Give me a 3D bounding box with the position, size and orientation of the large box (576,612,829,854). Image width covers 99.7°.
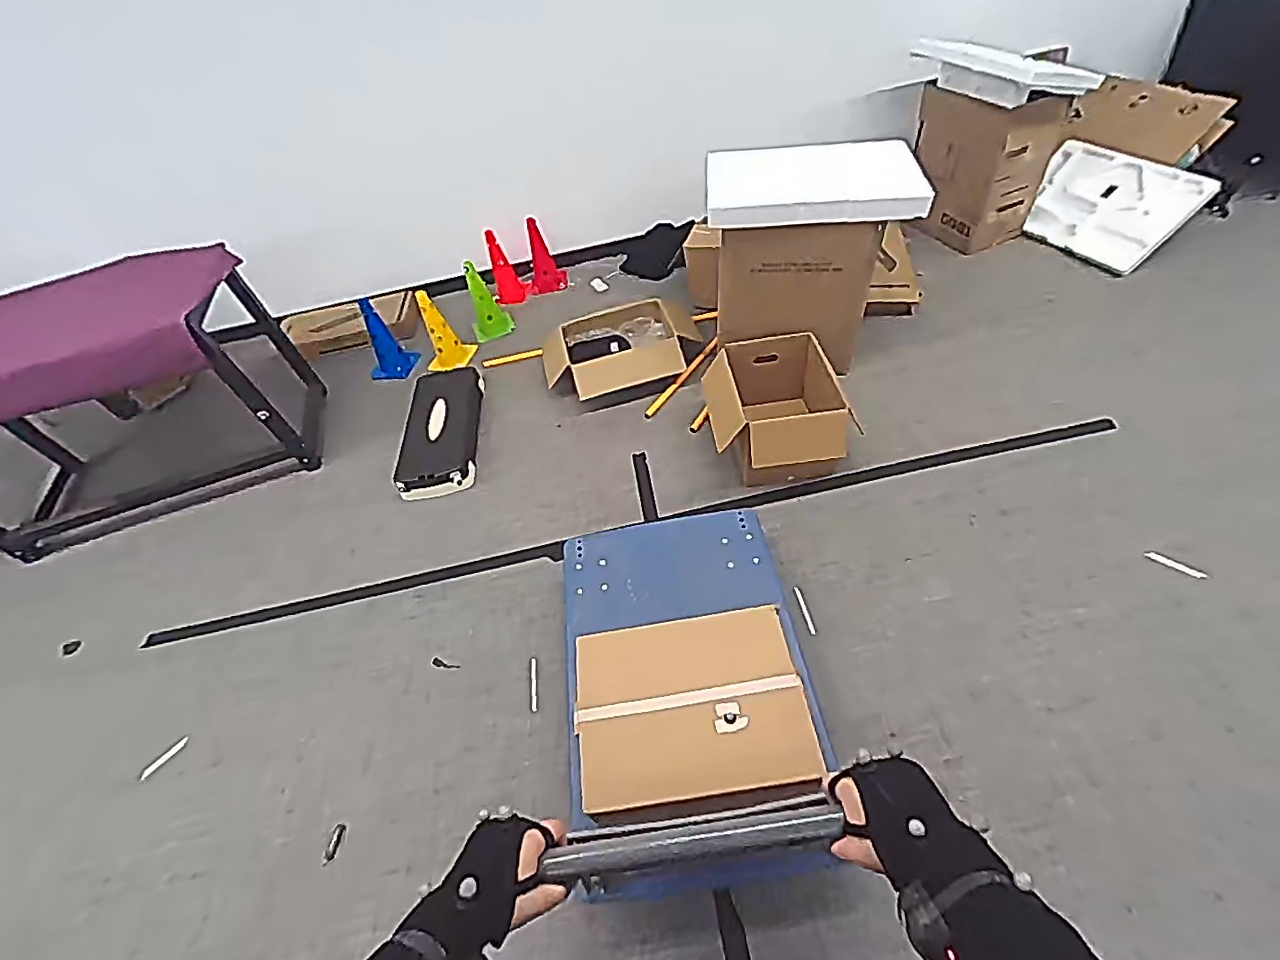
[{"bbox_3d":[0.105,0.501,1.063,0.408,0.320,0.320,-9,49,1],"label":"large box"}]
